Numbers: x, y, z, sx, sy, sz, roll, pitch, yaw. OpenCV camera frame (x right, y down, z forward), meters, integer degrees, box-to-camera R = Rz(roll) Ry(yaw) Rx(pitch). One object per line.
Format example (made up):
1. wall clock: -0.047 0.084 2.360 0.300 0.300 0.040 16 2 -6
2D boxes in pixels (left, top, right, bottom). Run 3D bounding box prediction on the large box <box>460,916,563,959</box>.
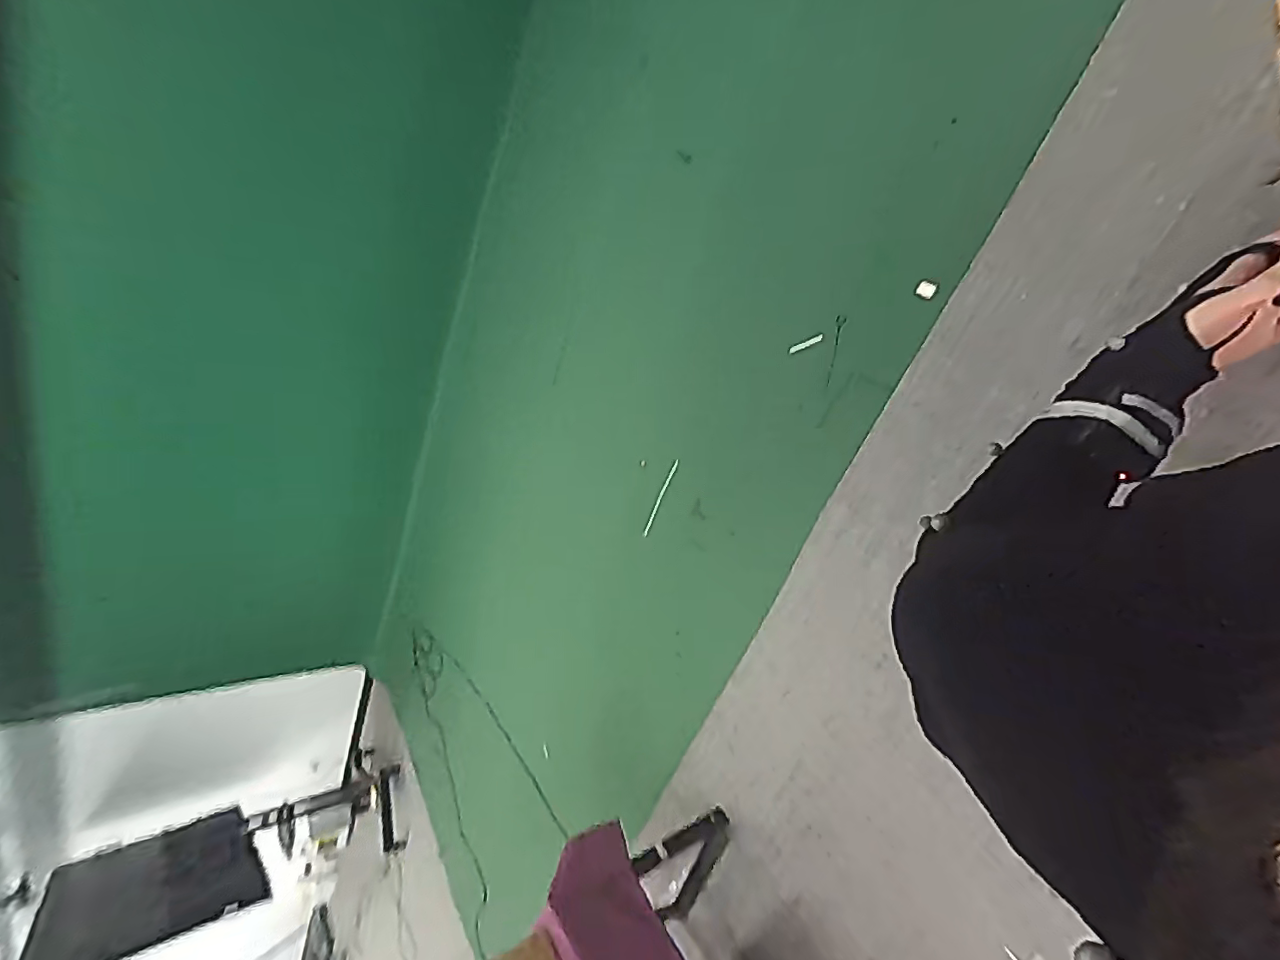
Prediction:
1. large box: -0.370 1.434 1.361 0.320 0.320 0.408 42 117 40
